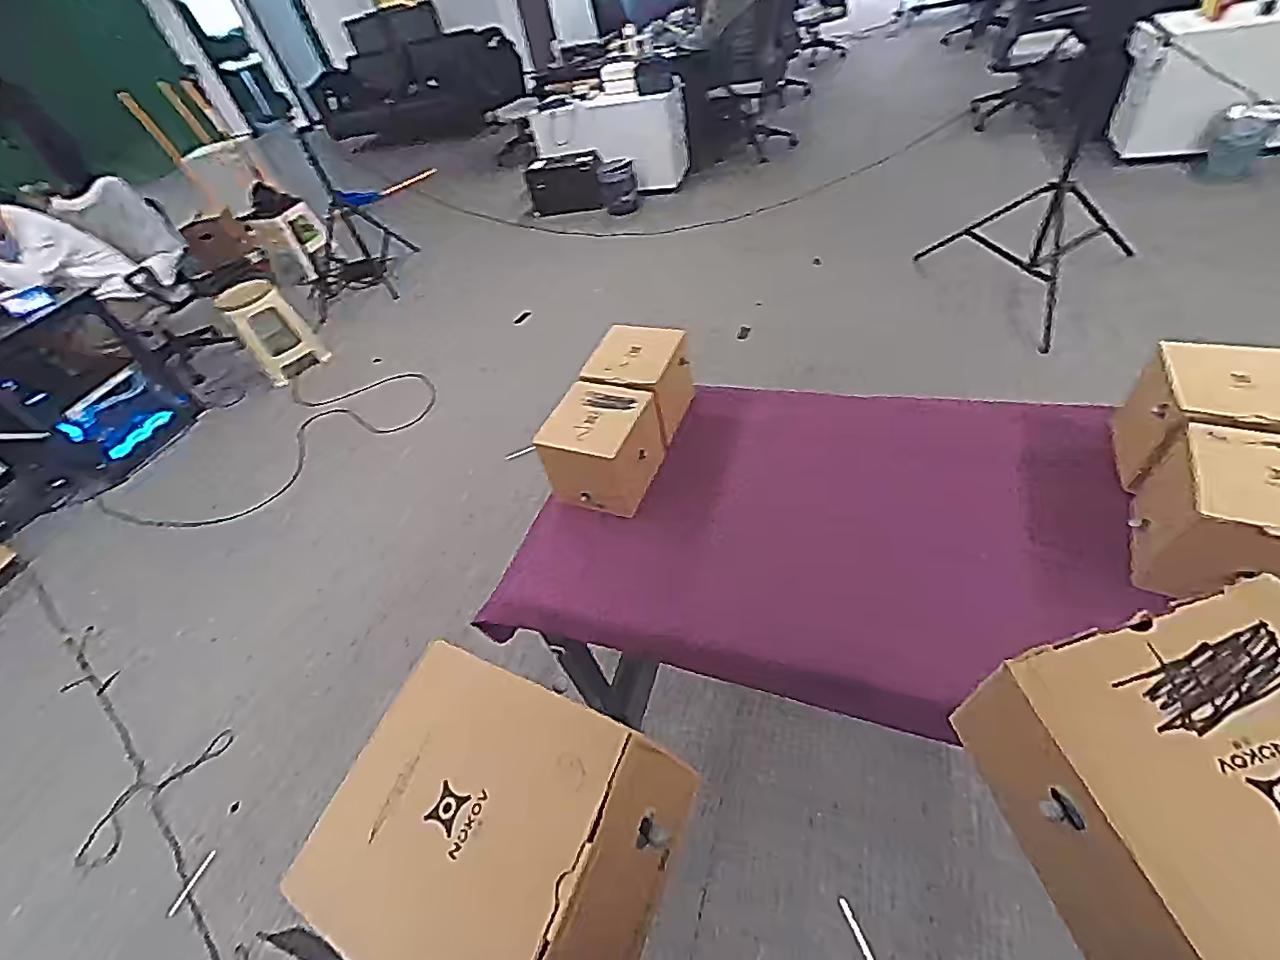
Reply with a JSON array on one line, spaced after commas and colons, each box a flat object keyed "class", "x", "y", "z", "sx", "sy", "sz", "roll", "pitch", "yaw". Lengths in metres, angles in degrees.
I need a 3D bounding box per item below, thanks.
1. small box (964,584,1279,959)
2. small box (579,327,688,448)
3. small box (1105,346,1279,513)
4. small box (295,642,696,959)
[{"class": "small box", "x": 0.339, "y": 0.197, "z": 0.335, "sx": 0.168, "sy": 0.176, "sz": 0.179, "roll": -20, "pitch": 53, "yaw": 4}, {"class": "small box", "x": -0.004, "y": -0.195, "z": 1.133, "sx": 0.168, "sy": 0.176, "sz": 0.179, "roll": 11, "pitch": 52, "yaw": 22}, {"class": "small box", "x": 0.854, "y": -0.078, "z": 0.826, "sx": 0.168, "sy": 0.176, "sz": 0.179, "roll": 11, "pitch": 51, "yaw": 21}, {"class": "small box", "x": -0.078, "y": 0.243, "z": 0.381, "sx": 0.179, "sy": 0.176, "sz": 0.168, "roll": 11, "pitch": 58, "yaw": 30}]
